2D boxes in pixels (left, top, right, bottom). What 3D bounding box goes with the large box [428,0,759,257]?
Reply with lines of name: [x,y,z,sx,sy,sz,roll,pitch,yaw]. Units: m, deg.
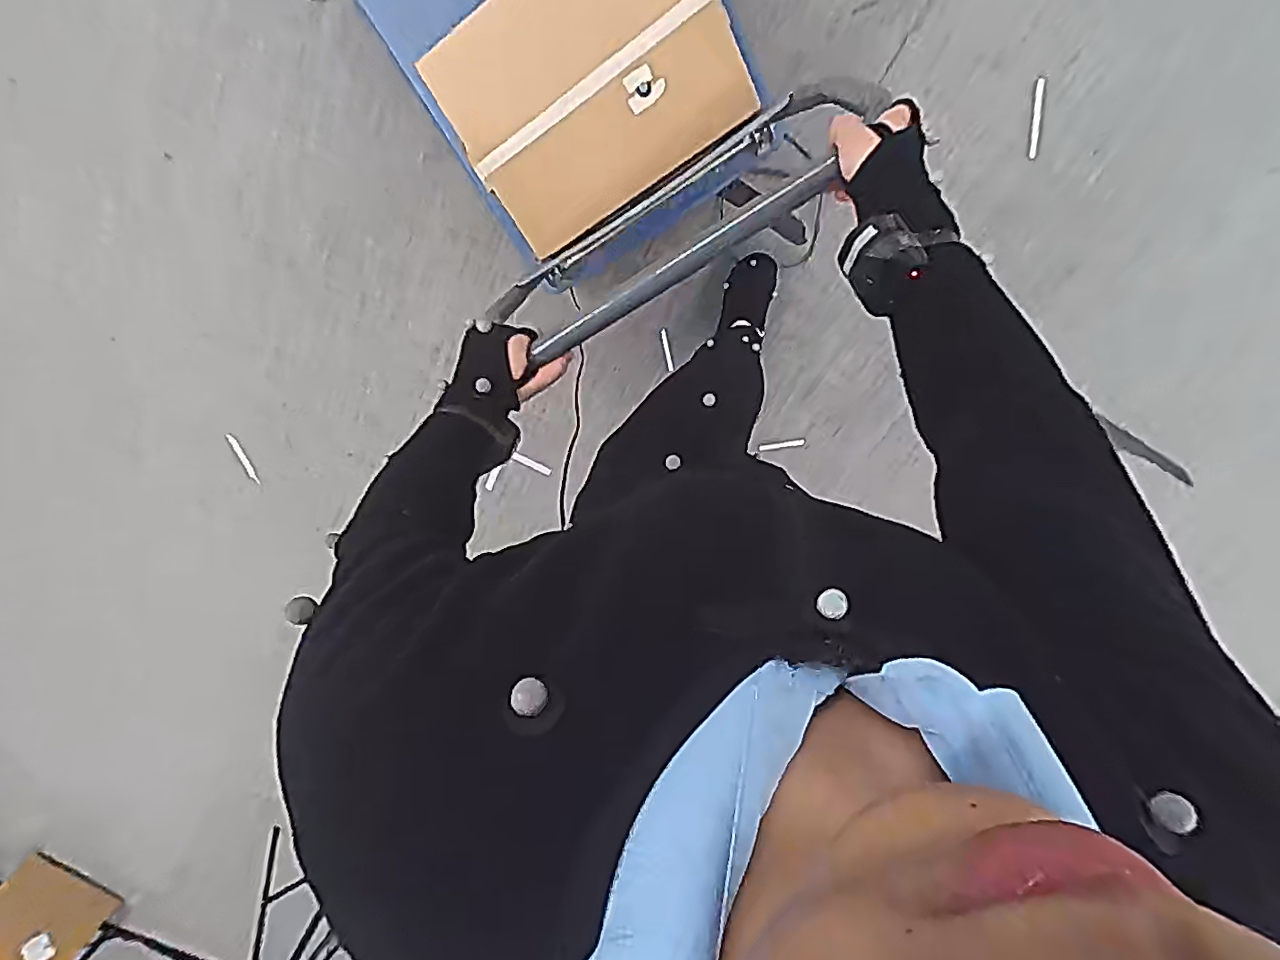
large box: [-0.064,-0.638,0.926,0.408,0.320,0.320,-29,112,15]
